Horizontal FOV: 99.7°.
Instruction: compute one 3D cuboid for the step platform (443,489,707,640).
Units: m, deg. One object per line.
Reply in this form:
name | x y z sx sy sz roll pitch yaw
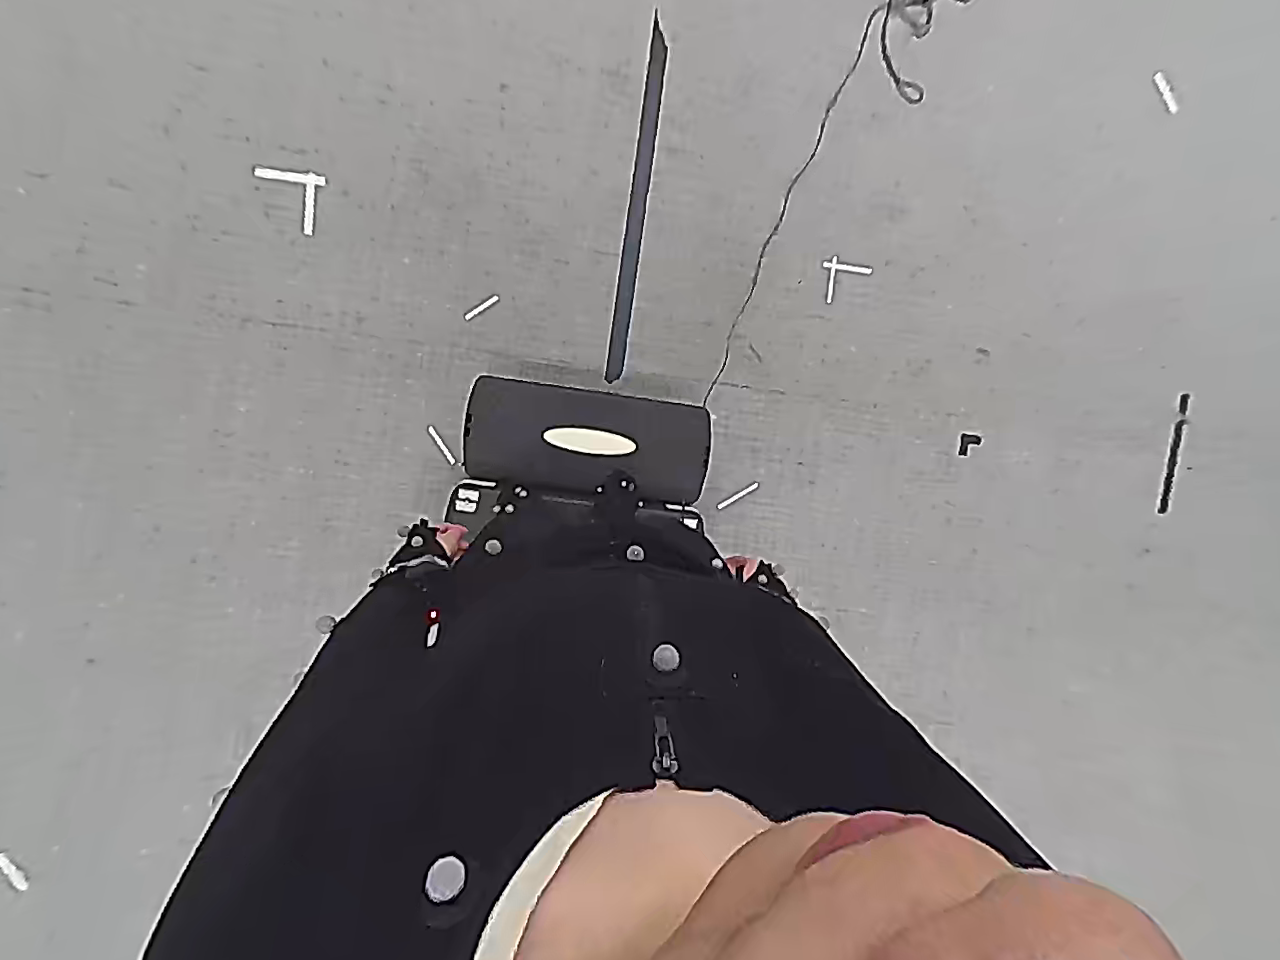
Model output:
step platform | -0.164 0.226 1.458 0.684 0.204 0.286 12 90 -5
